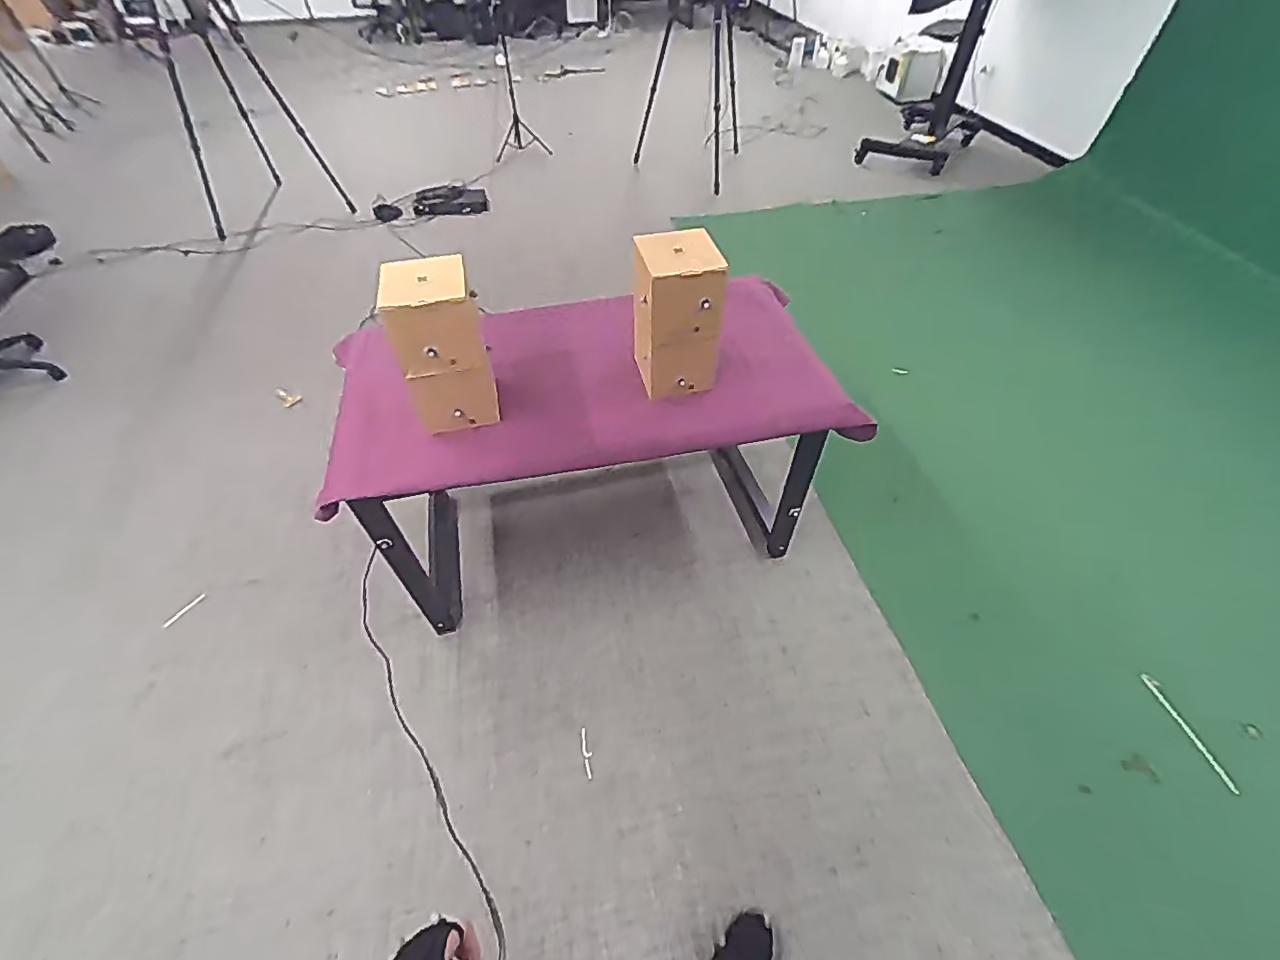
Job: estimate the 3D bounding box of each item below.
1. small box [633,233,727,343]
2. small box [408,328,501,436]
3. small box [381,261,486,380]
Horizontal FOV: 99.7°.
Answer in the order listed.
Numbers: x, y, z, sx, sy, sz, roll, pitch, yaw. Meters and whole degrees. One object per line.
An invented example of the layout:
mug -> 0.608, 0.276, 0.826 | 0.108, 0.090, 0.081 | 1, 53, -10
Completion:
small box -> 0.084, -0.422, 1.205 | 0.168, 0.176, 0.179 | -10, 50, -8
small box -> -0.428, -0.229, 1.266 | 0.168, 0.176, 0.179 | -11, 50, -8
small box -> -0.430, -0.336, 1.143 | 0.168, 0.176, 0.179 | -11, 51, -9
